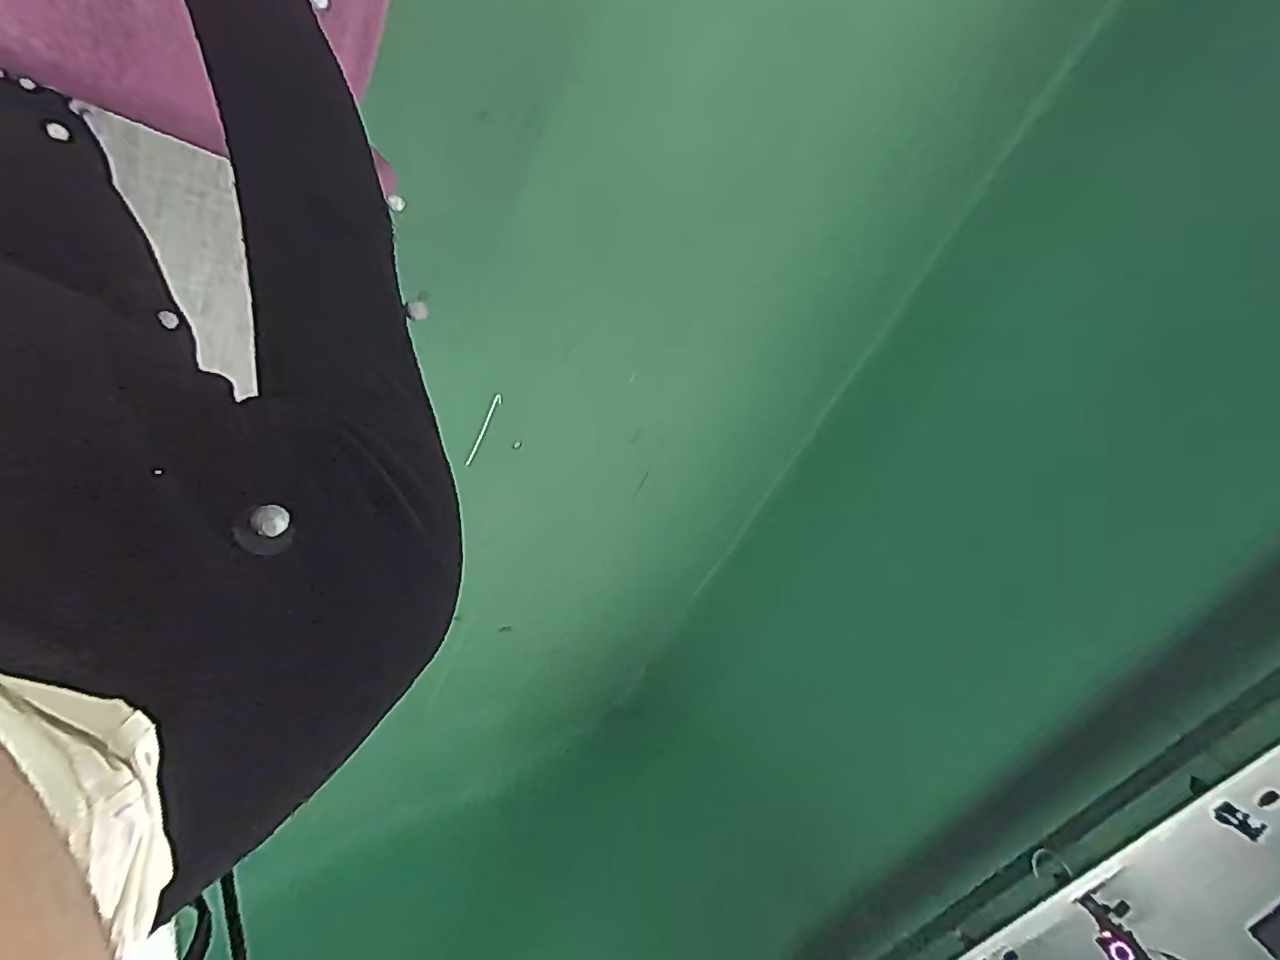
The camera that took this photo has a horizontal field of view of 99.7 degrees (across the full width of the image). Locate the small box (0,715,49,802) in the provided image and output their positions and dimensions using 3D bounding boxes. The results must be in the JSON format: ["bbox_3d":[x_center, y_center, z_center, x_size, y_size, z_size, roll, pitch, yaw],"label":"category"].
[{"bbox_3d":[-1.875,0.823,1.585,0.179,0.176,0.168,6,122,-51],"label":"small box"}]
